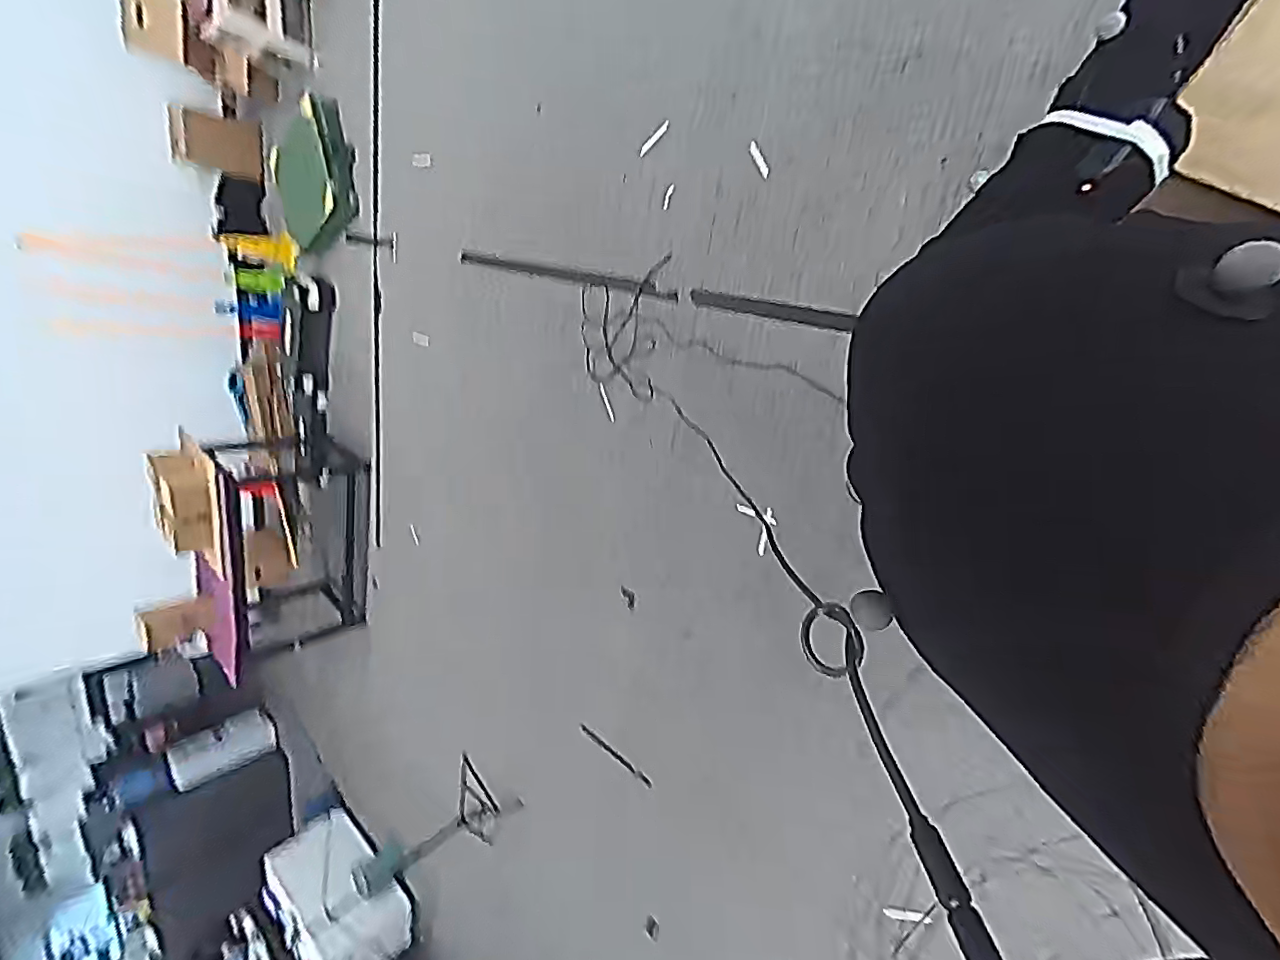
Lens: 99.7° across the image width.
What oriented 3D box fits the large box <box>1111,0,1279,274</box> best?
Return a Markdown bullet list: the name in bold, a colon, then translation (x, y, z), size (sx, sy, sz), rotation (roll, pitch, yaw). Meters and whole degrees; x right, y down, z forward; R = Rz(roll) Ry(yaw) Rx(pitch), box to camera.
- **large box**: translation (0.660, -0.286, 0.379), size (0.408, 0.320, 0.320), rotation (40, 128, 21)
